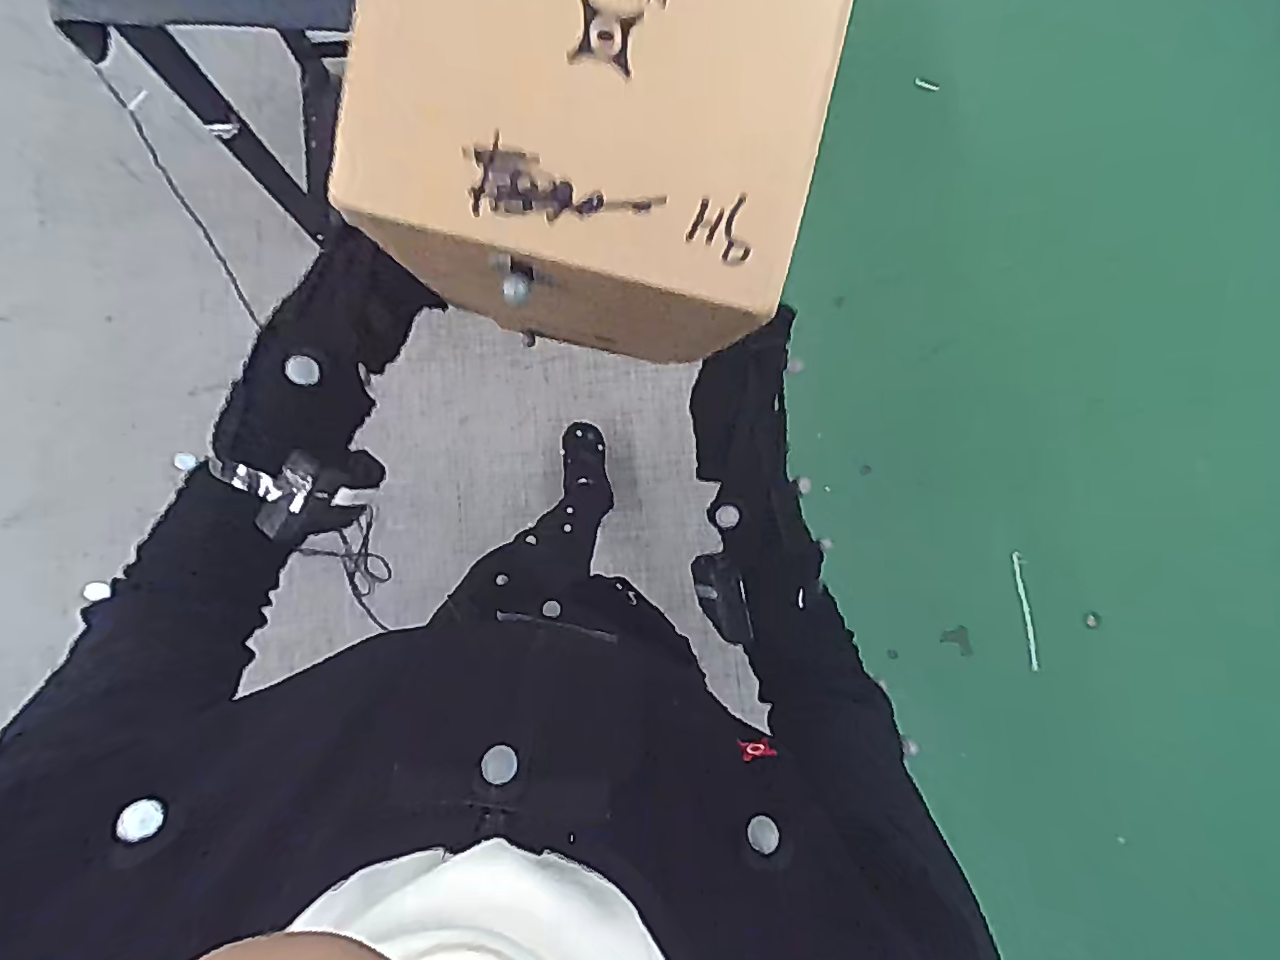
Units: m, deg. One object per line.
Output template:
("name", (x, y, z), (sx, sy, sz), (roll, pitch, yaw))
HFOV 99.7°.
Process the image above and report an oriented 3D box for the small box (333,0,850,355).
("small box", (-0.016, -0.174, 0.268), (0.168, 0.176, 0.179), (12, 95, -5))
